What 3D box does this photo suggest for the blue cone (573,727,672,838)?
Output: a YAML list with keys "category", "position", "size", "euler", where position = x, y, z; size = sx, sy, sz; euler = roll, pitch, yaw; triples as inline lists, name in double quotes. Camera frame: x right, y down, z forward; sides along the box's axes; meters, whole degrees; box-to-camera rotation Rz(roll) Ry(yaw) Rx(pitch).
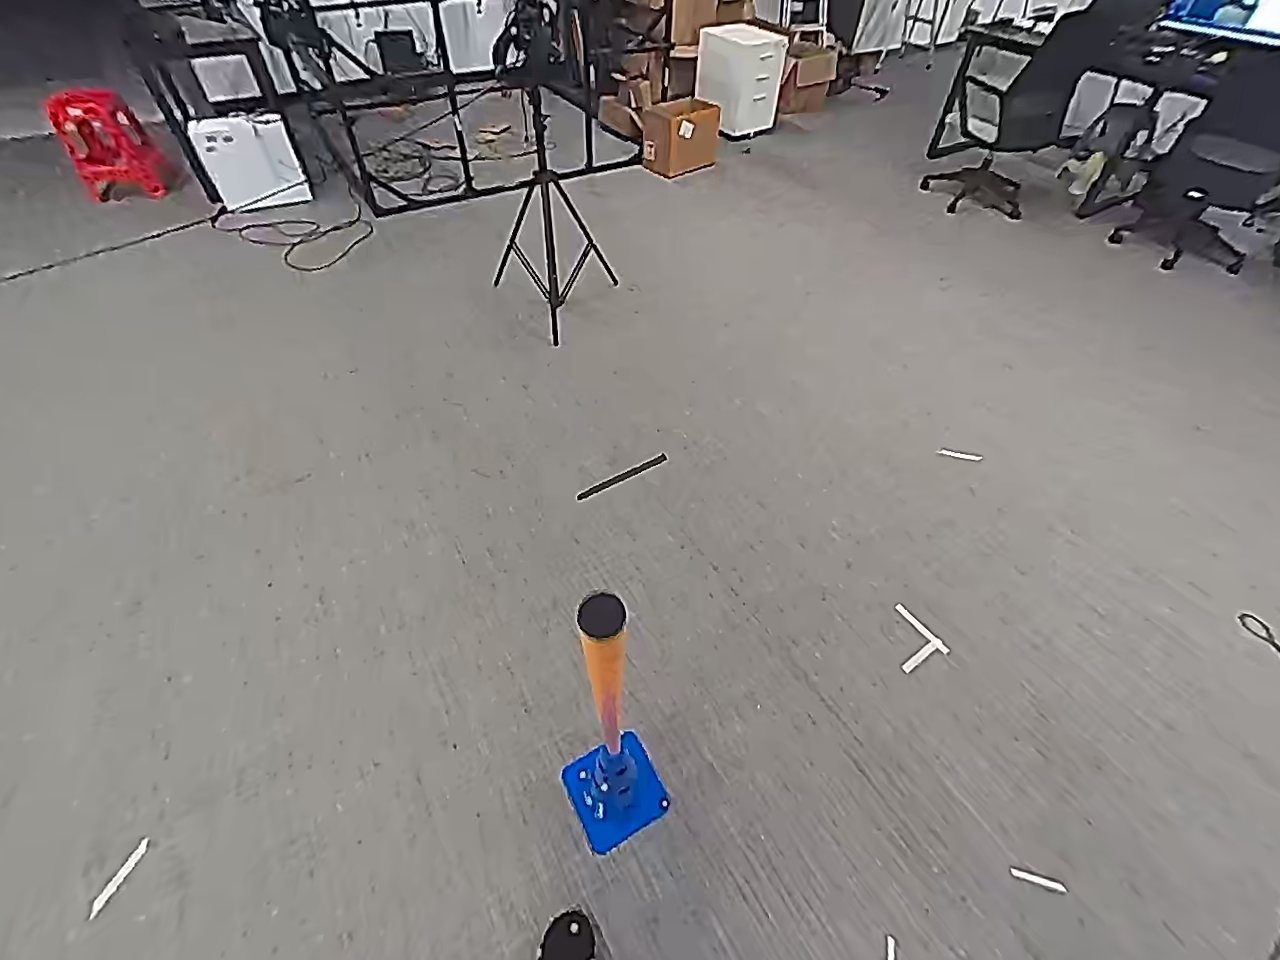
- category: "blue cone"
  position: [-0.041, 0.597, 1.136]
  size: [0.192, 0.380, 0.193]
  euler: [-21, 53, -19]
